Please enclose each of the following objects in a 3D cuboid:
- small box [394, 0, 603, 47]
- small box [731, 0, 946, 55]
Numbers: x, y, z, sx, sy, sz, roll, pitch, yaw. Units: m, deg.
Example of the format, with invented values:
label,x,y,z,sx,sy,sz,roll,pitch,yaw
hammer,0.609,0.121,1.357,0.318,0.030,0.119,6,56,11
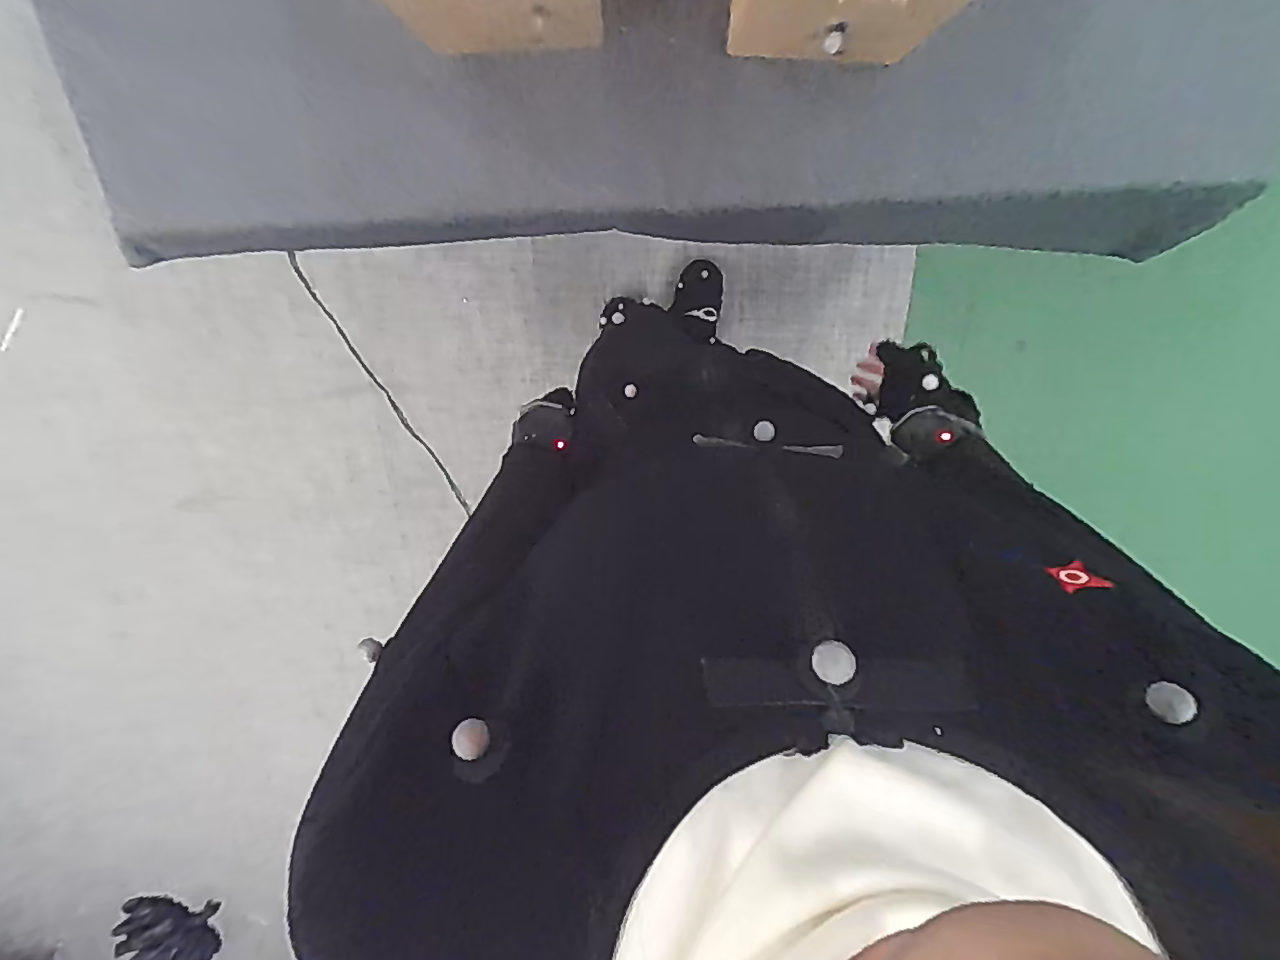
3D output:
label,x,y,z,sx,sy,sz,roll,pitch,yaw
small box,-0.121,-0.470,0.422,0.168,0.176,0.179,-3,111,1
small box,0.167,-0.460,0.419,0.168,0.176,0.179,2,113,0
